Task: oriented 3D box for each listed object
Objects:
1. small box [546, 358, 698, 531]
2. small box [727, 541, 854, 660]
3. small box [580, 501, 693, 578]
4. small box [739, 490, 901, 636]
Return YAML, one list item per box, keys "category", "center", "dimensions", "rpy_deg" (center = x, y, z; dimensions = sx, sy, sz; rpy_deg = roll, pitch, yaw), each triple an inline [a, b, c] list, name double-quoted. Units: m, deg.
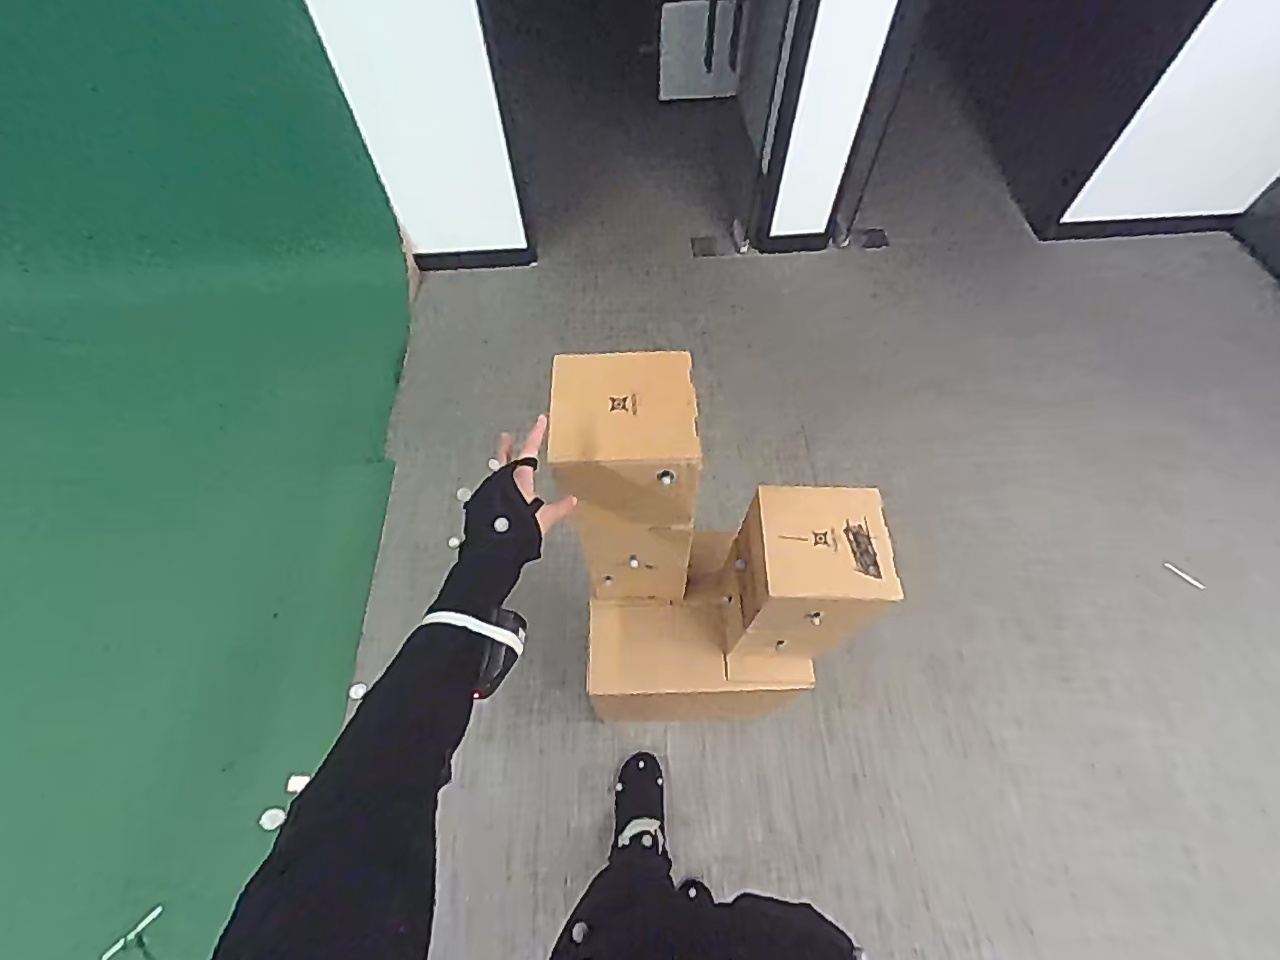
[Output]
- category: "small box"
  center: [-0.020, -0.041, 0.718]
  dimensions: [0.179, 0.176, 0.168]
  rpy_deg: [-3, 59, 0]
- category: "small box"
  center: [0.247, 0.213, 0.940]
  dimensions: [0.179, 0.176, 0.168]
  rpy_deg: [0, 61, 1]
- category: "small box"
  center: [-0.003, 0.040, 0.859]
  dimensions: [0.168, 0.176, 0.179]
  rpy_deg: [2, 59, 3]
- category: "small box"
  center: [0.250, 0.128, 0.800]
  dimensions: [0.179, 0.176, 0.168]
  rpy_deg: [1, 59, 1]
